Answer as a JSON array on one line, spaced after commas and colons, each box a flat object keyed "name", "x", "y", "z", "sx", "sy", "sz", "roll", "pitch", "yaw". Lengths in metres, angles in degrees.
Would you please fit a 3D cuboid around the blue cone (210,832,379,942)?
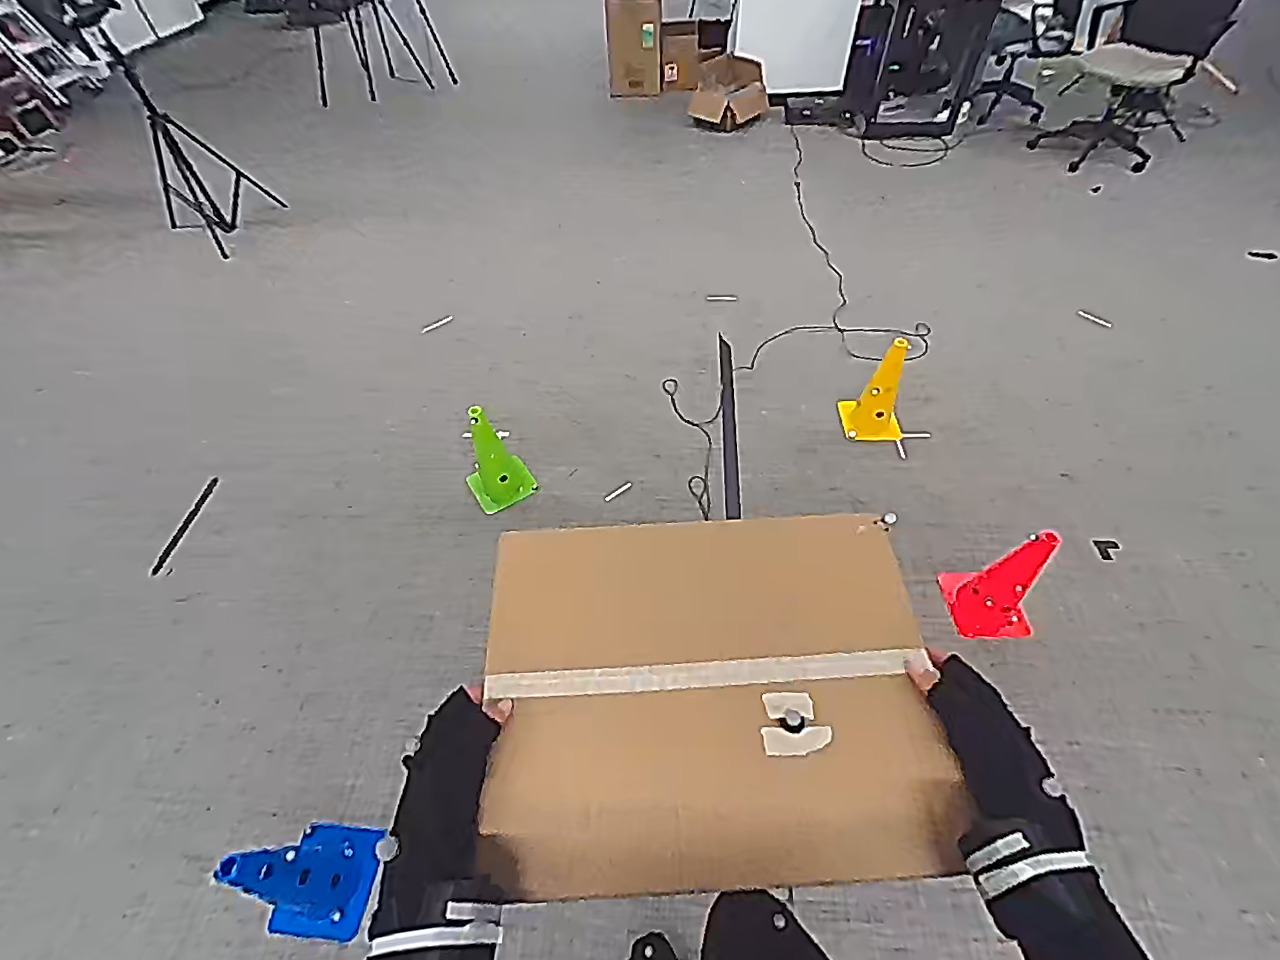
[{"name": "blue cone", "x": -0.698, "y": 0.795, "z": 1.070, "sx": 0.192, "sy": 0.380, "sz": 0.193, "roll": 3, "pitch": 51, "yaw": 6}]

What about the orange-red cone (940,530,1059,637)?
[{"name": "orange-red cone", "x": 0.970, "y": 0.242, "z": 1.406, "sx": 0.198, "sy": 0.360, "sz": 0.199, "roll": -1, "pitch": 50, "yaw": 1}]

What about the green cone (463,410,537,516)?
[{"name": "green cone", "x": -0.492, "y": -0.089, "z": 1.747, "sx": 0.202, "sy": 0.368, "sz": 0.200, "roll": -31, "pitch": 55, "yaw": -18}]

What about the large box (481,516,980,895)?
[{"name": "large box", "x": 0.064, "y": 0.259, "z": 0.625, "sx": 0.408, "sy": 0.320, "sz": 0.320, "roll": -3, "pitch": 58, "yaw": -1}]
